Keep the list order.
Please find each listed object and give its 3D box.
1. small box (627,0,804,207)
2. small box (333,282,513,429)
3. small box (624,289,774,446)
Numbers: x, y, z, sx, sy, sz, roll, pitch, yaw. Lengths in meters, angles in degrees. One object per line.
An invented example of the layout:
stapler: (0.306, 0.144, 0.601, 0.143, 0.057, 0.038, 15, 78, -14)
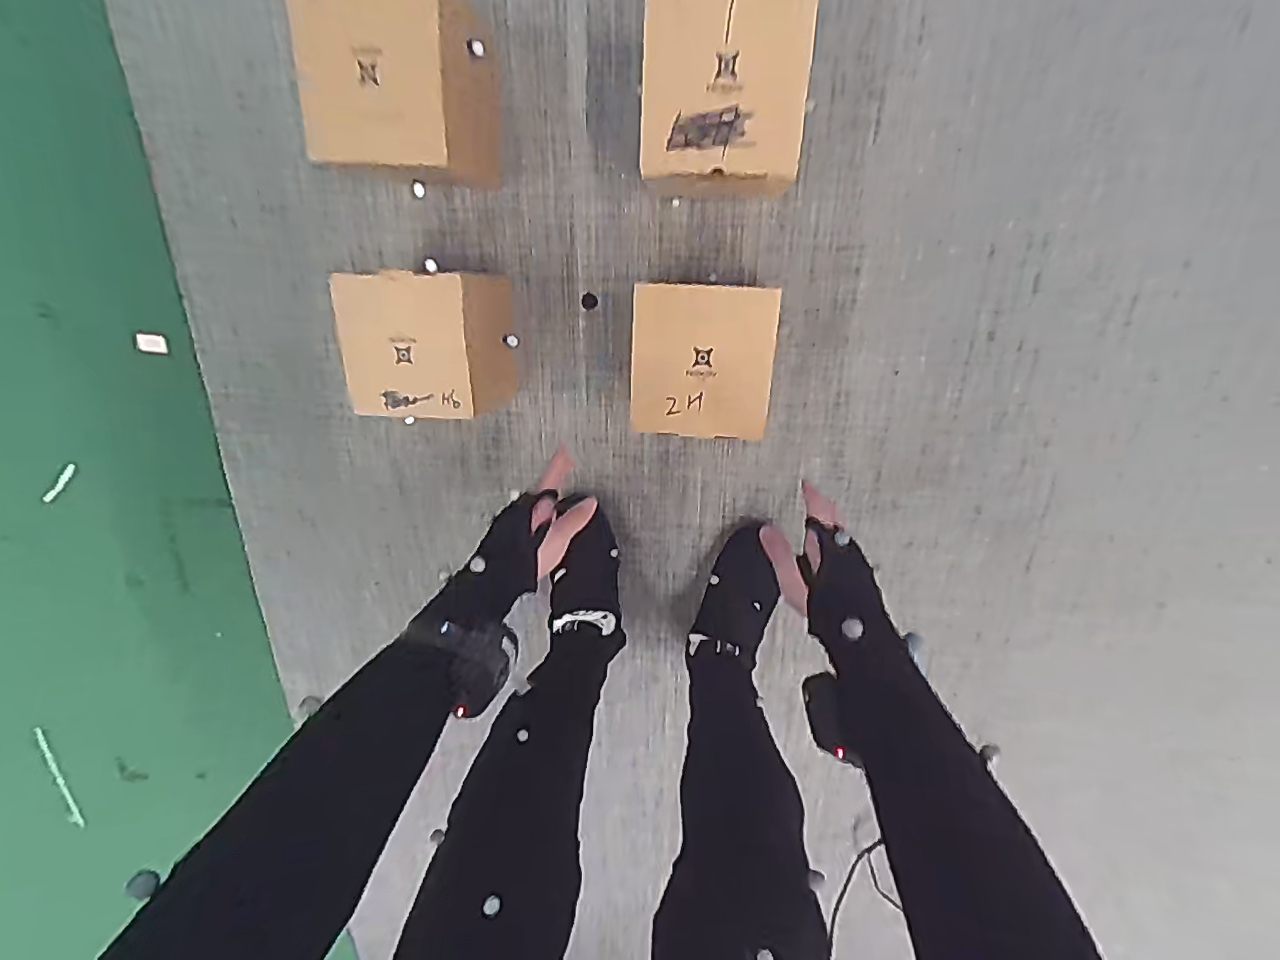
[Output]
small box: (0.081, -0.415, 0.611, 0.168, 0.176, 0.179, 4, 109, 6)
small box: (-0.283, -0.175, 0.744, 0.168, 0.176, 0.179, 3, 109, 6)
small box: (0.073, -0.153, 0.705, 0.168, 0.176, 0.179, 4, 110, 6)
